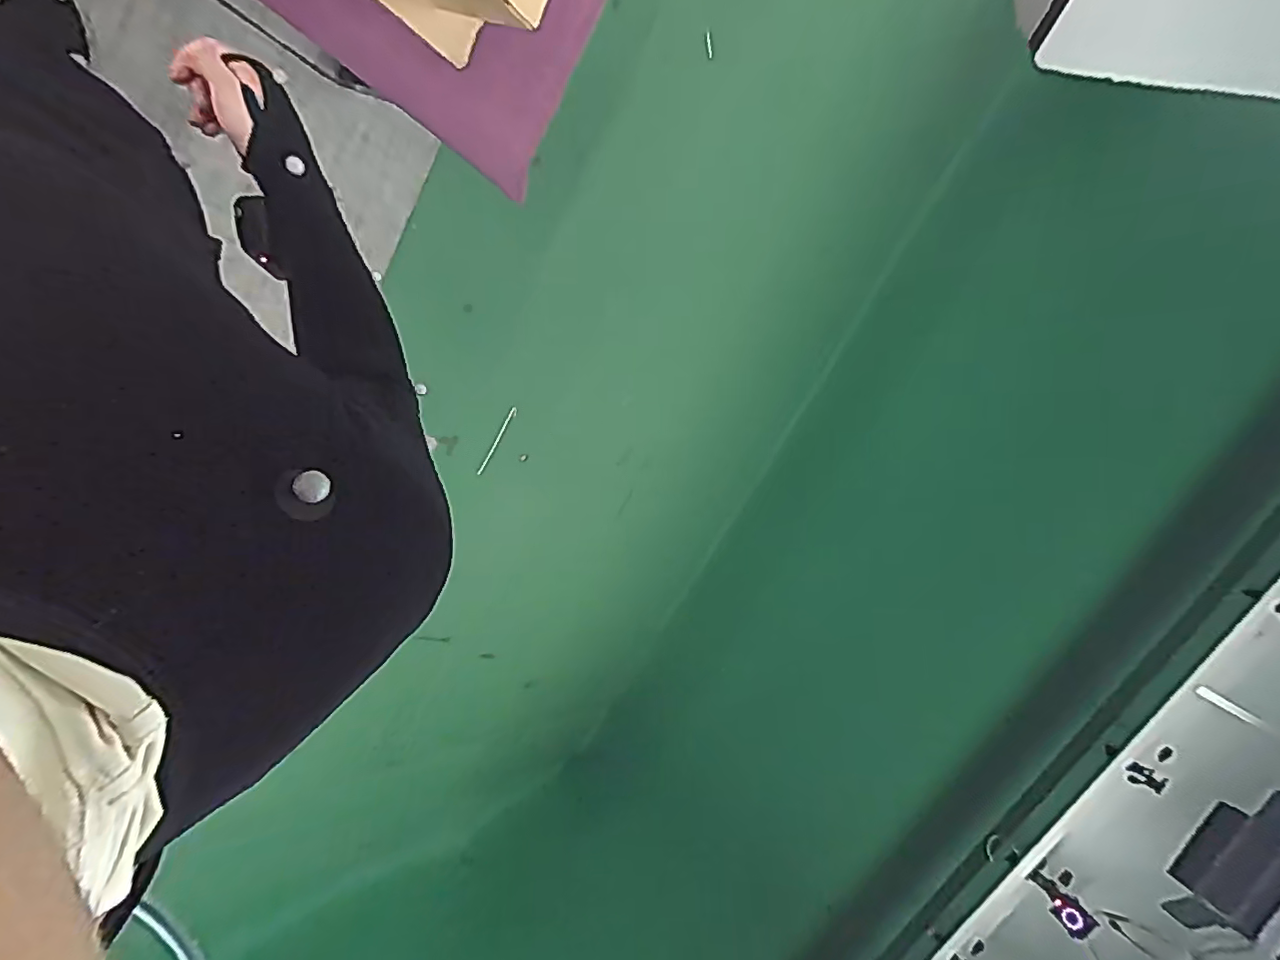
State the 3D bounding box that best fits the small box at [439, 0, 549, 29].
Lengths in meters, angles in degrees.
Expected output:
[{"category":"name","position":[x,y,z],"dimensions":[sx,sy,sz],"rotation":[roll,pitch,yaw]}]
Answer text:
[{"category":"small box","position":[-0.160,-0.551,0.470],"dimensions":[0.168,0.176,0.179],"rotation":[5,117,-58]}]
